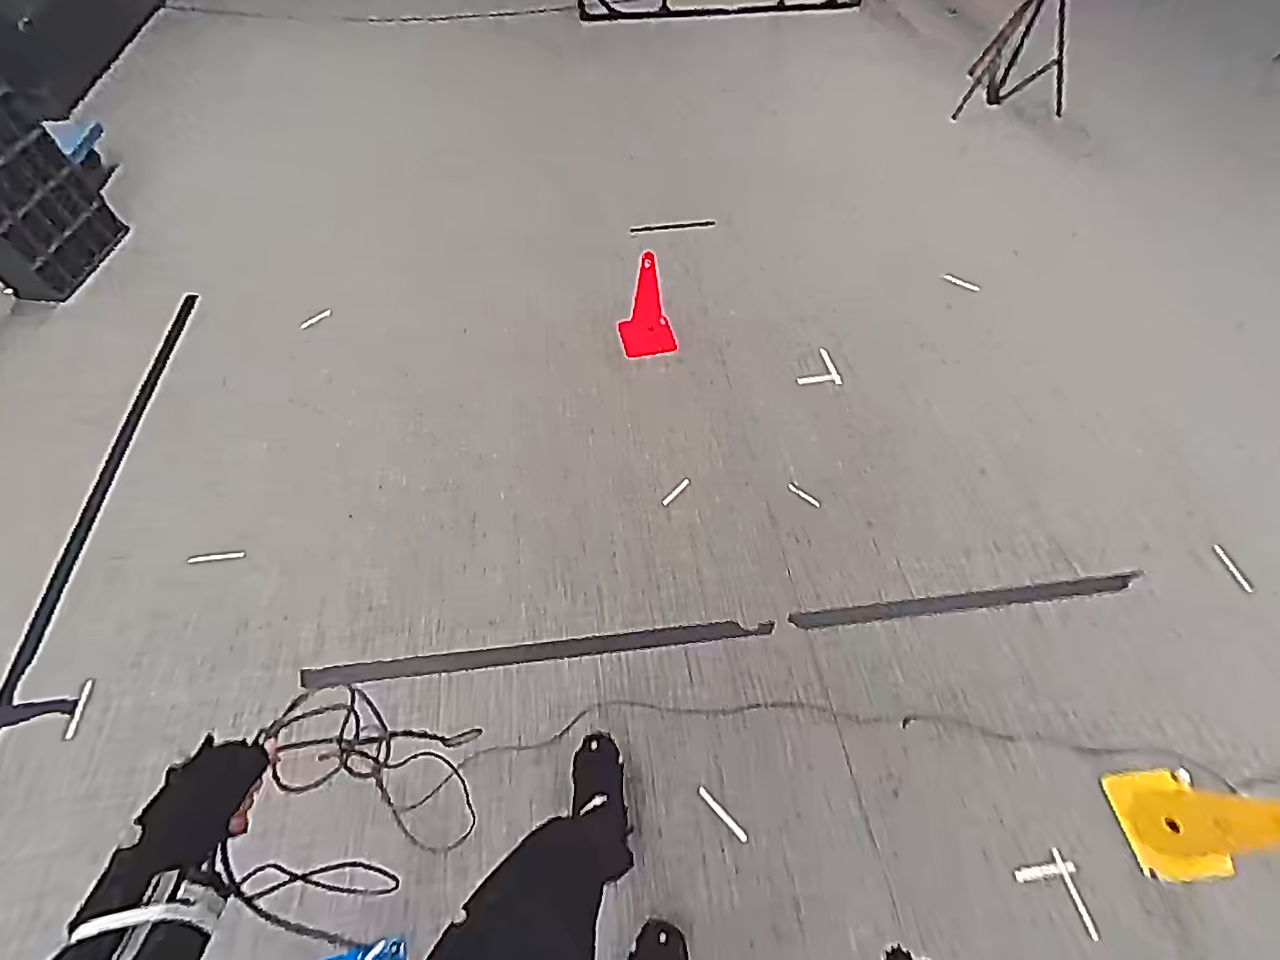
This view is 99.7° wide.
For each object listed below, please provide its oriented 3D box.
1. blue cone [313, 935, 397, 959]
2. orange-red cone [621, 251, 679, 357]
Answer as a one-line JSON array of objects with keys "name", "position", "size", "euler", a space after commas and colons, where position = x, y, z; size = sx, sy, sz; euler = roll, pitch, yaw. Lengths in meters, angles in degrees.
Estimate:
[{"name": "blue cone", "position": [-0.564, 0.929, 0.901], "size": [0.193, 0.380, 0.192], "euler": [-10, 58, -6]}, {"name": "orange-red cone", "position": [0.035, -0.640, 1.908], "size": [0.199, 0.360, 0.198], "euler": [-10, 57, -5]}]
